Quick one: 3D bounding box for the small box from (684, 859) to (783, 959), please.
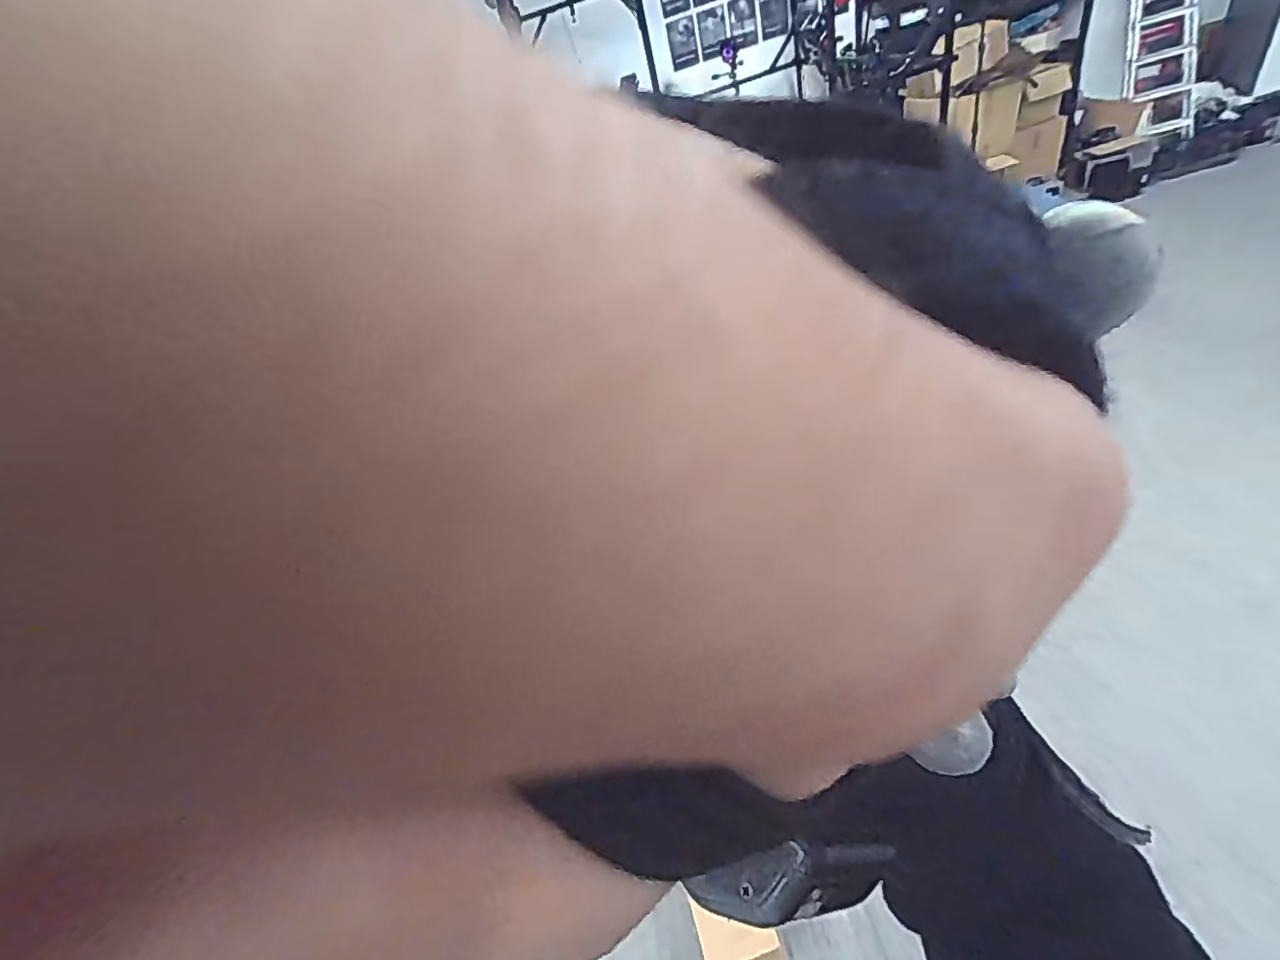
[{"bbox_3d":[0.216,1.027,1.251,0.168,0.176,0.179,-21,37,-1],"label":"small box"}]
